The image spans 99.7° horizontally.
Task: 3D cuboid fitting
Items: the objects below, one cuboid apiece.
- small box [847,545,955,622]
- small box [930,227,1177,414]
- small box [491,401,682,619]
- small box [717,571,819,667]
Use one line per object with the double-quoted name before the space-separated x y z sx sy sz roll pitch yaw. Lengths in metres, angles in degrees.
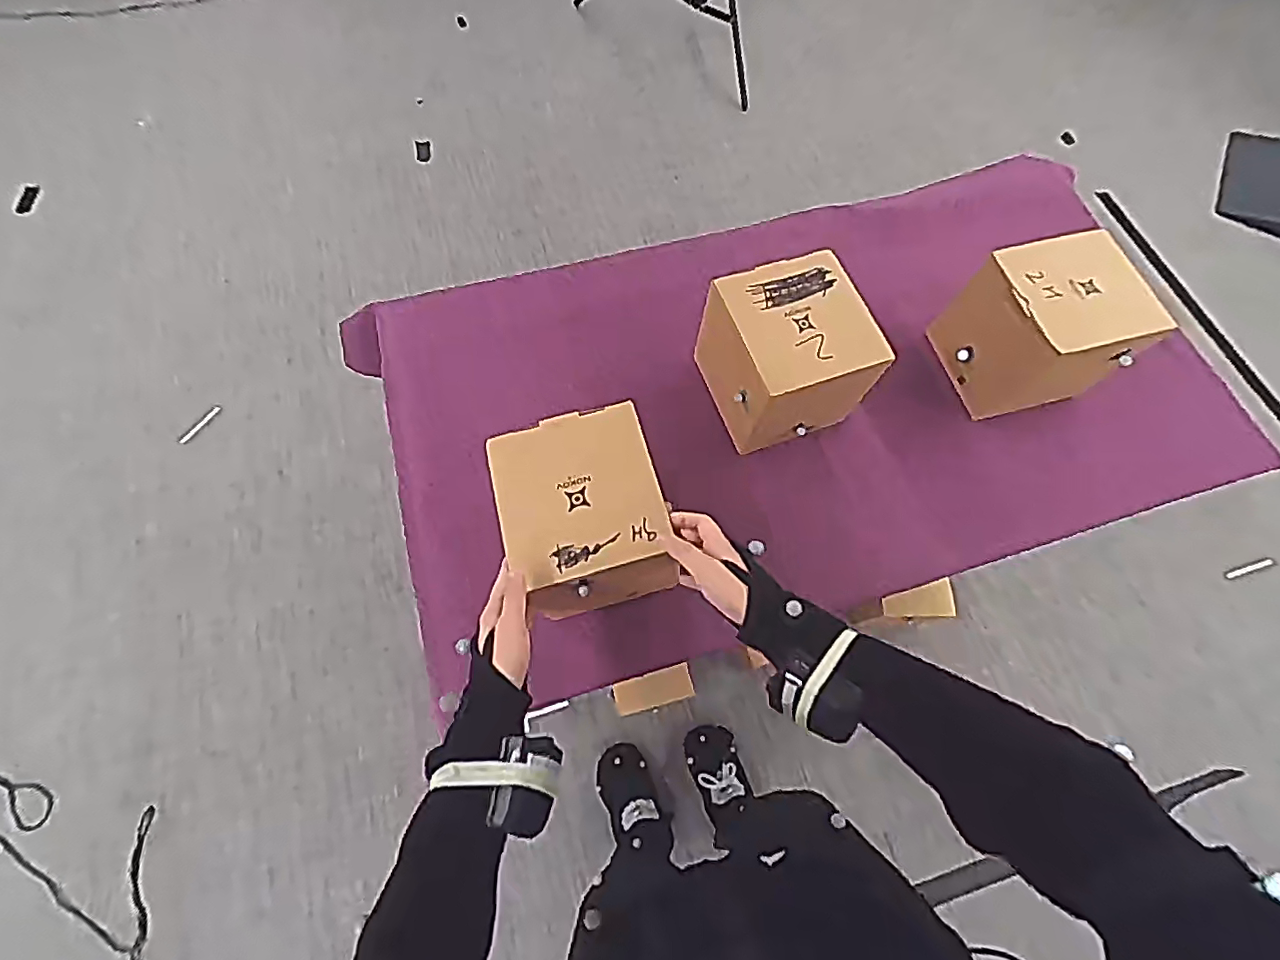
"small box" 0.645 0.263 1.354 0.179 0.176 0.168 0 70 -1
"small box" 0.551 -0.213 0.750 0.179 0.176 0.168 -14 69 -7
"small box" -0.055 0.042 0.618 0.168 0.176 0.179 -16 67 -2
"small box" 0.299 0.341 1.309 0.168 0.176 0.179 -16 71 -8
